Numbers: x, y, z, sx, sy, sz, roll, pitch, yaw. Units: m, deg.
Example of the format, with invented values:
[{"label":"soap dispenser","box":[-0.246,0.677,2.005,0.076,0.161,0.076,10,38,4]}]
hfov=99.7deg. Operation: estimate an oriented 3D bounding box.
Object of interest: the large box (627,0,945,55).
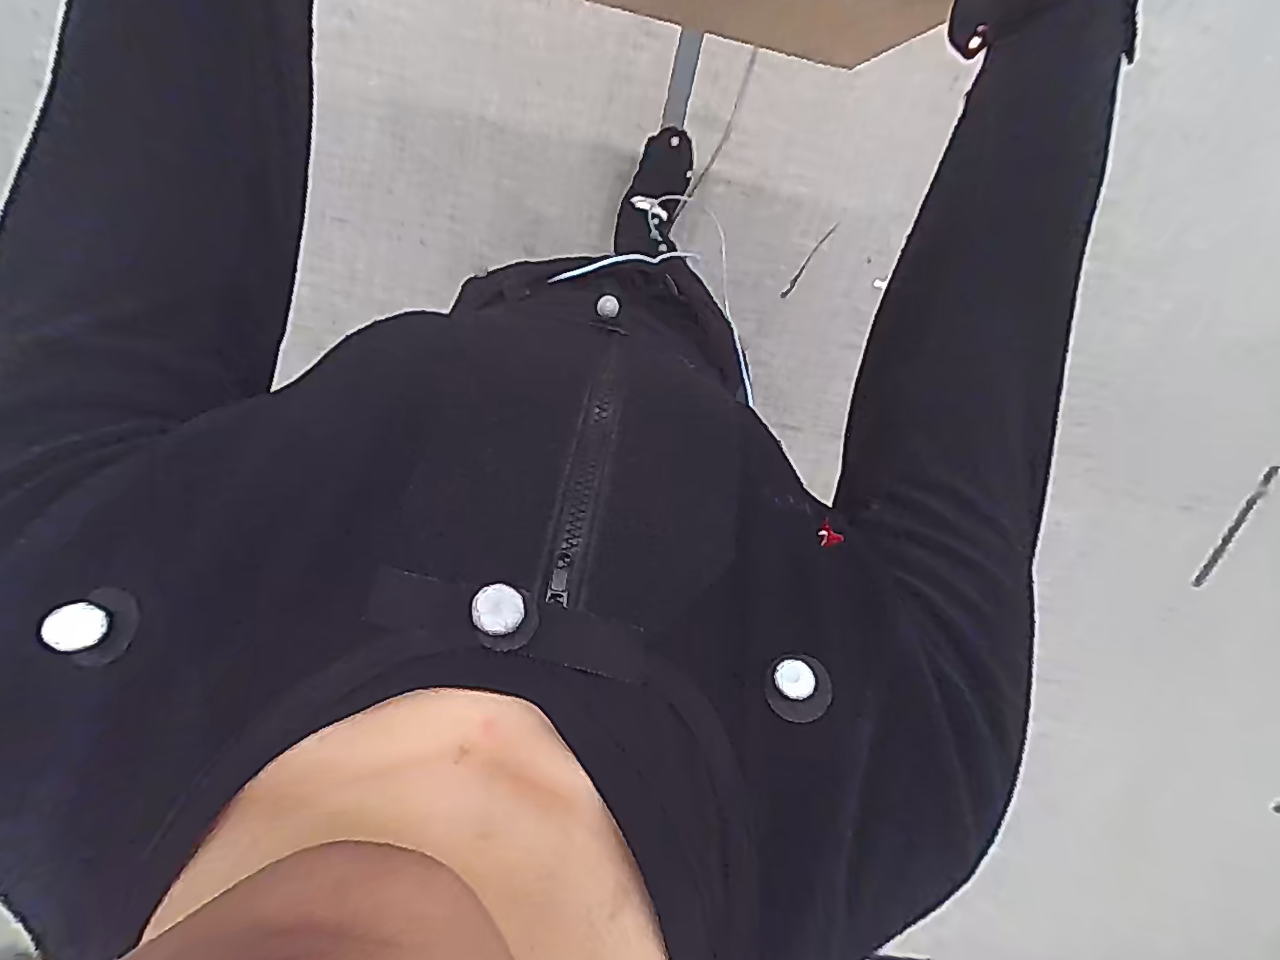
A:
[{"label":"large box","box":[0.074,-0.566,0.392,0.408,0.320,0.320,11,121,-5]}]
